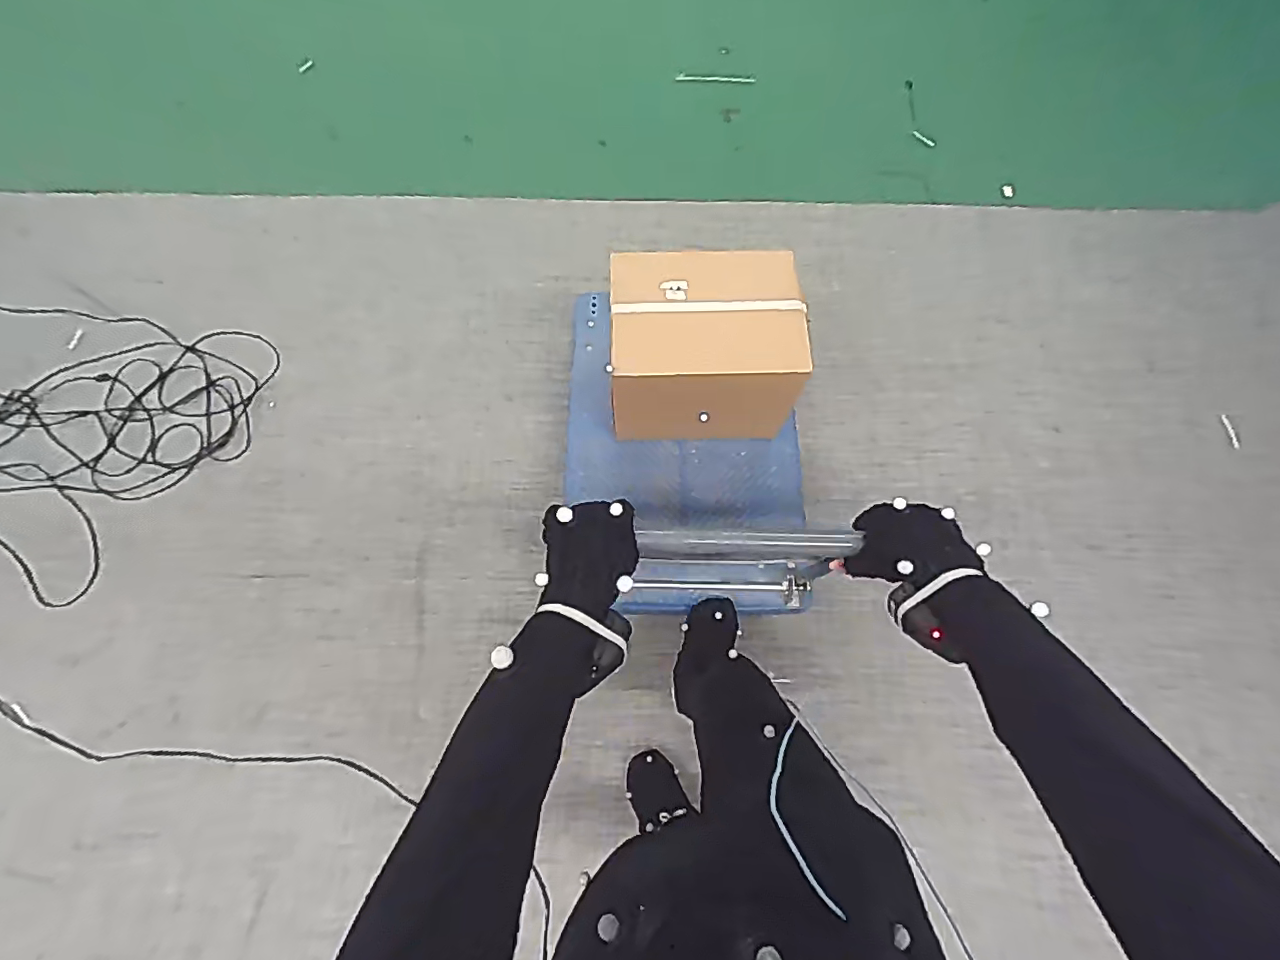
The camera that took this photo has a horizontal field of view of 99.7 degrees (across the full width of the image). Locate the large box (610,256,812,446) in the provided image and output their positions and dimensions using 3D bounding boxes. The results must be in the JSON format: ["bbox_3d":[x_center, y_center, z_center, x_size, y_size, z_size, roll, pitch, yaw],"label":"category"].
[{"bbox_3d":[0.142,-0.285,1.264,0.408,0.320,0.320,-2,68,0],"label":"large box"}]
